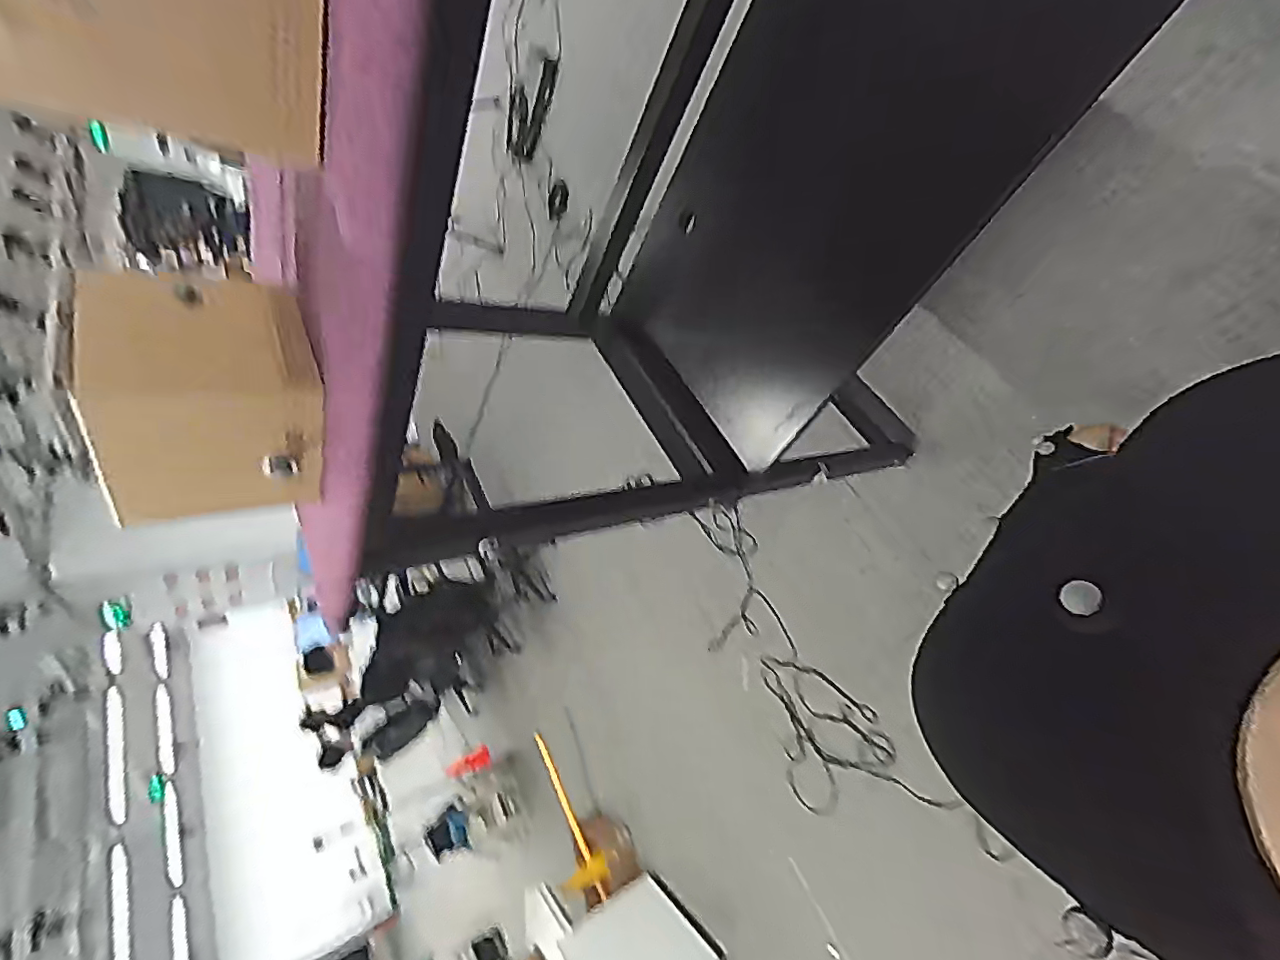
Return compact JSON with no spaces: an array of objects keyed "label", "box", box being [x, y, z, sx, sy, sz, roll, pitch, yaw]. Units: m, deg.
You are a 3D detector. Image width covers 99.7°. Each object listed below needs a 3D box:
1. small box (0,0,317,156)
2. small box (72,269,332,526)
[{"label":"small box","box":[-0.298,-0.331,0.321,0.168,0.176,0.179,60,138,27]},{"label":"small box","box":[-0.420,-0.082,0.536,0.179,0.176,0.168,55,137,28]}]
